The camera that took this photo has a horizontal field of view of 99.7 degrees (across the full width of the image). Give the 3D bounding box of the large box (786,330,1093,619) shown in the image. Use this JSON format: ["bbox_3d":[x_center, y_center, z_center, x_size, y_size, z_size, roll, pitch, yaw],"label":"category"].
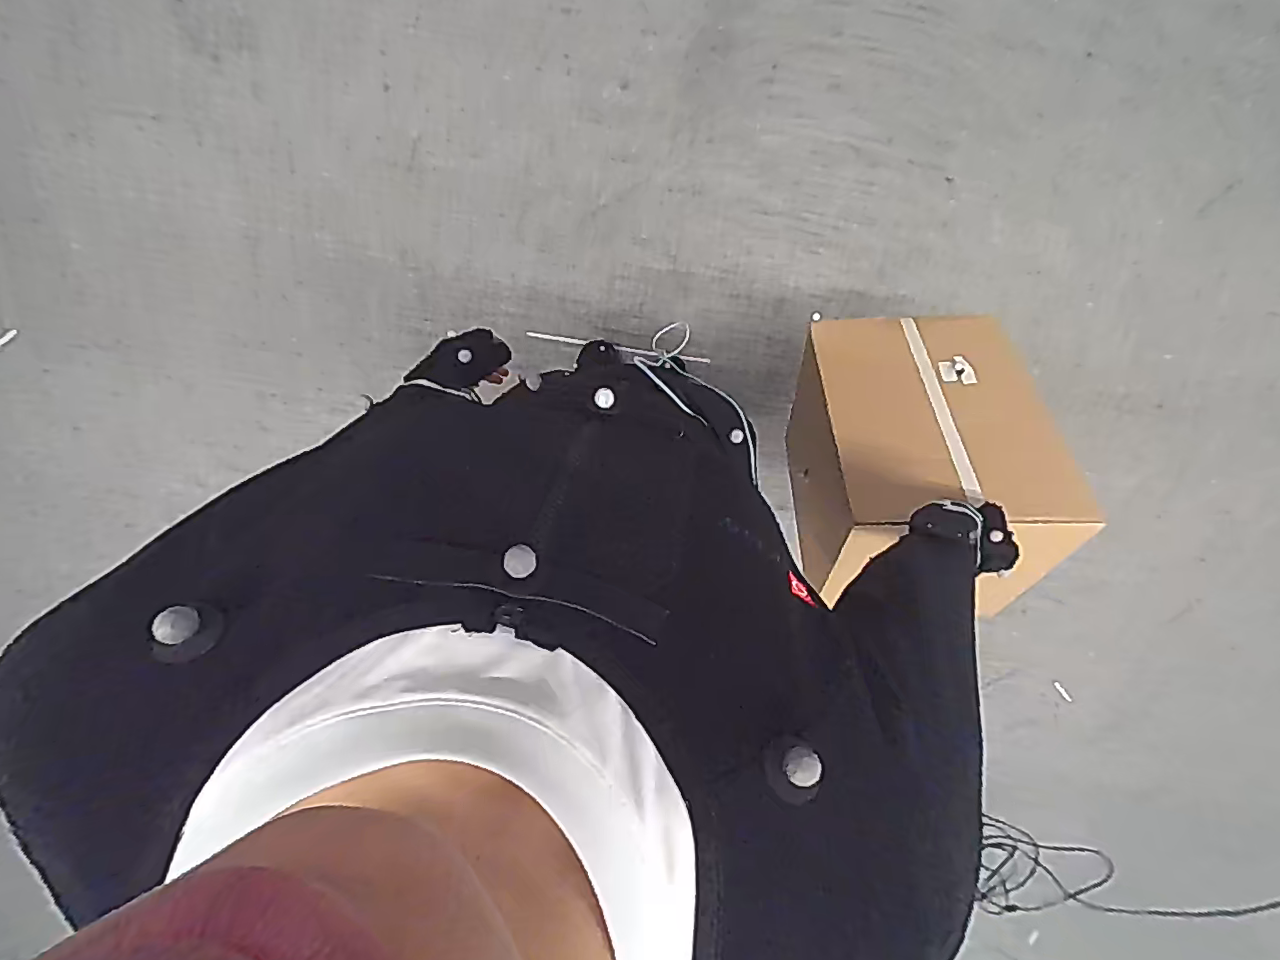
[{"bbox_3d":[0.449,-0.004,0.938,0.320,0.408,0.320,0,143,4],"label":"large box"}]
